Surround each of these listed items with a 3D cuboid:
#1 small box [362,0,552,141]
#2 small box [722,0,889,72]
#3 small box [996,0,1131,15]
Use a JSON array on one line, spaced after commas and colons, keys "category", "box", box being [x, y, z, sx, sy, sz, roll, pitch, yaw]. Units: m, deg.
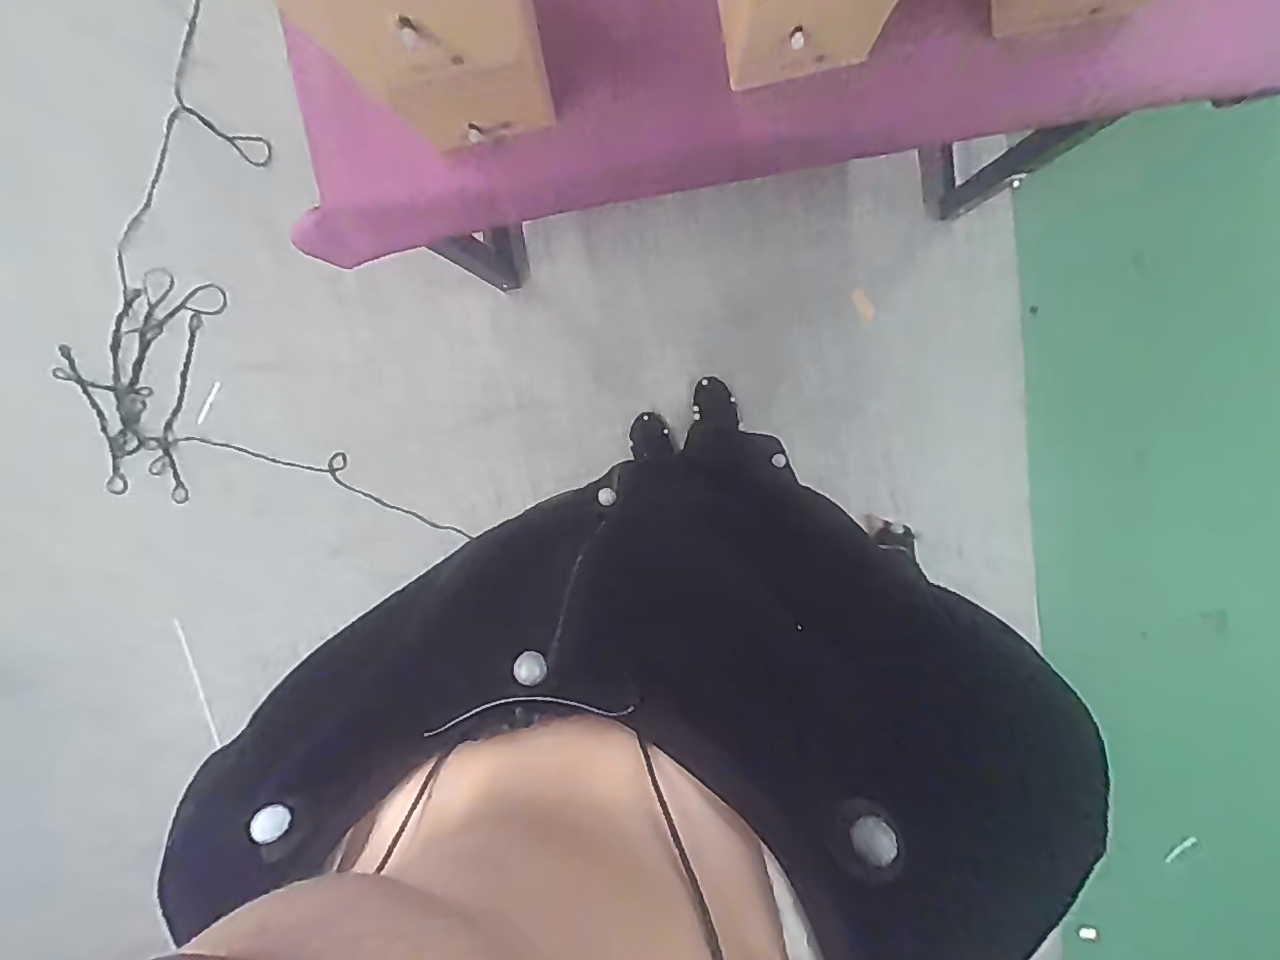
[{"category": "small box", "box": [-0.208, -0.522, 0.605, 0.168, 0.176, 0.179, -10, 99, 5]}, {"category": "small box", "box": [0.177, -0.577, 0.574, 0.168, 0.176, 0.179, -10, 97, 5]}, {"category": "small box", "box": [0.488, -0.619, 0.546, 0.168, 0.176, 0.179, -6, 98, 4]}]
